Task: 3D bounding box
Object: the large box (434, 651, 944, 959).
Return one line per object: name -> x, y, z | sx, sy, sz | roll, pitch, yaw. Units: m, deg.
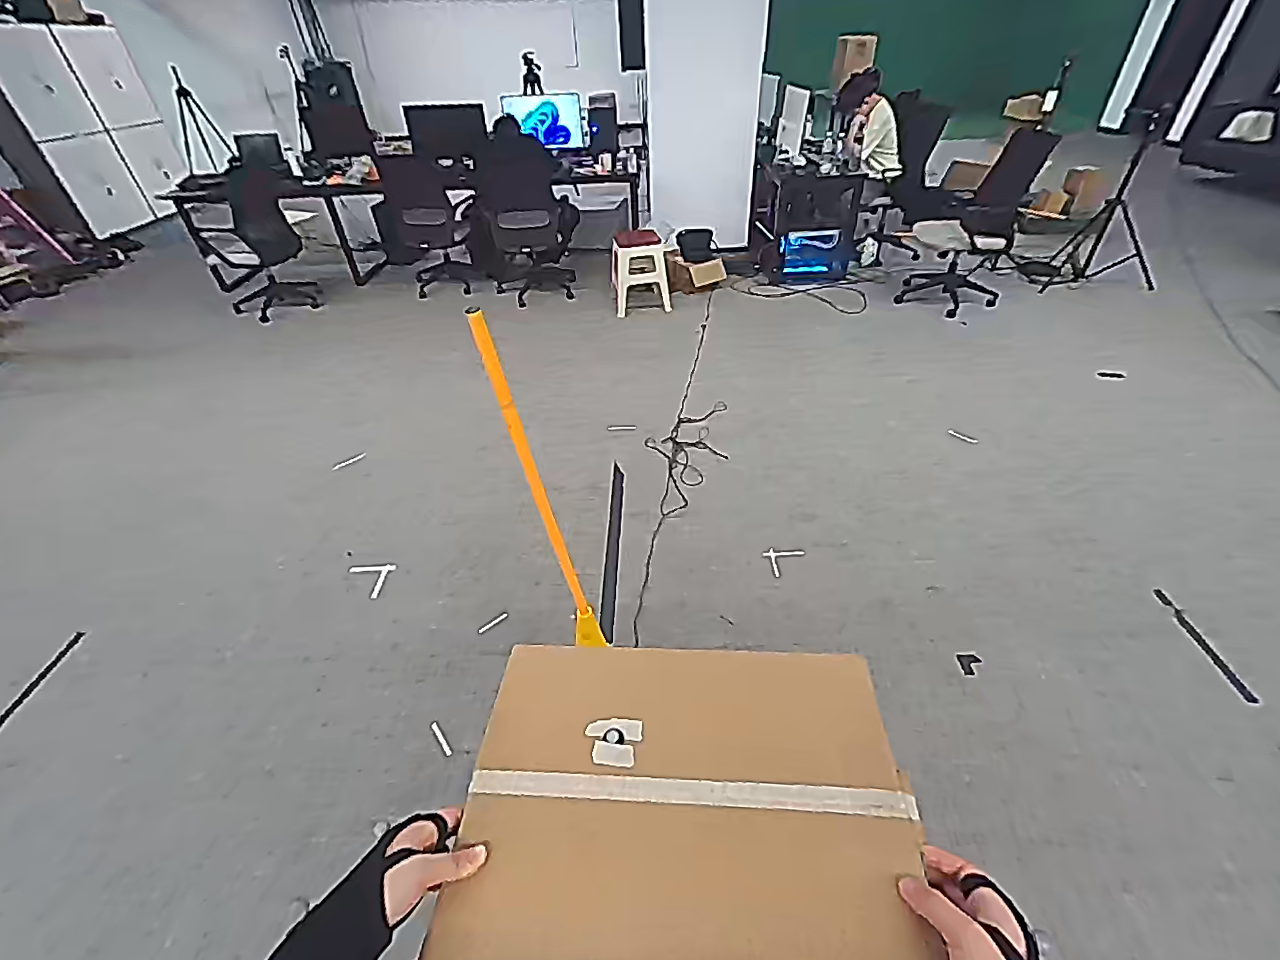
large box -> 0.057, 0.414, 0.606 | 0.408, 0.320, 0.320 | -2, 37, 8
